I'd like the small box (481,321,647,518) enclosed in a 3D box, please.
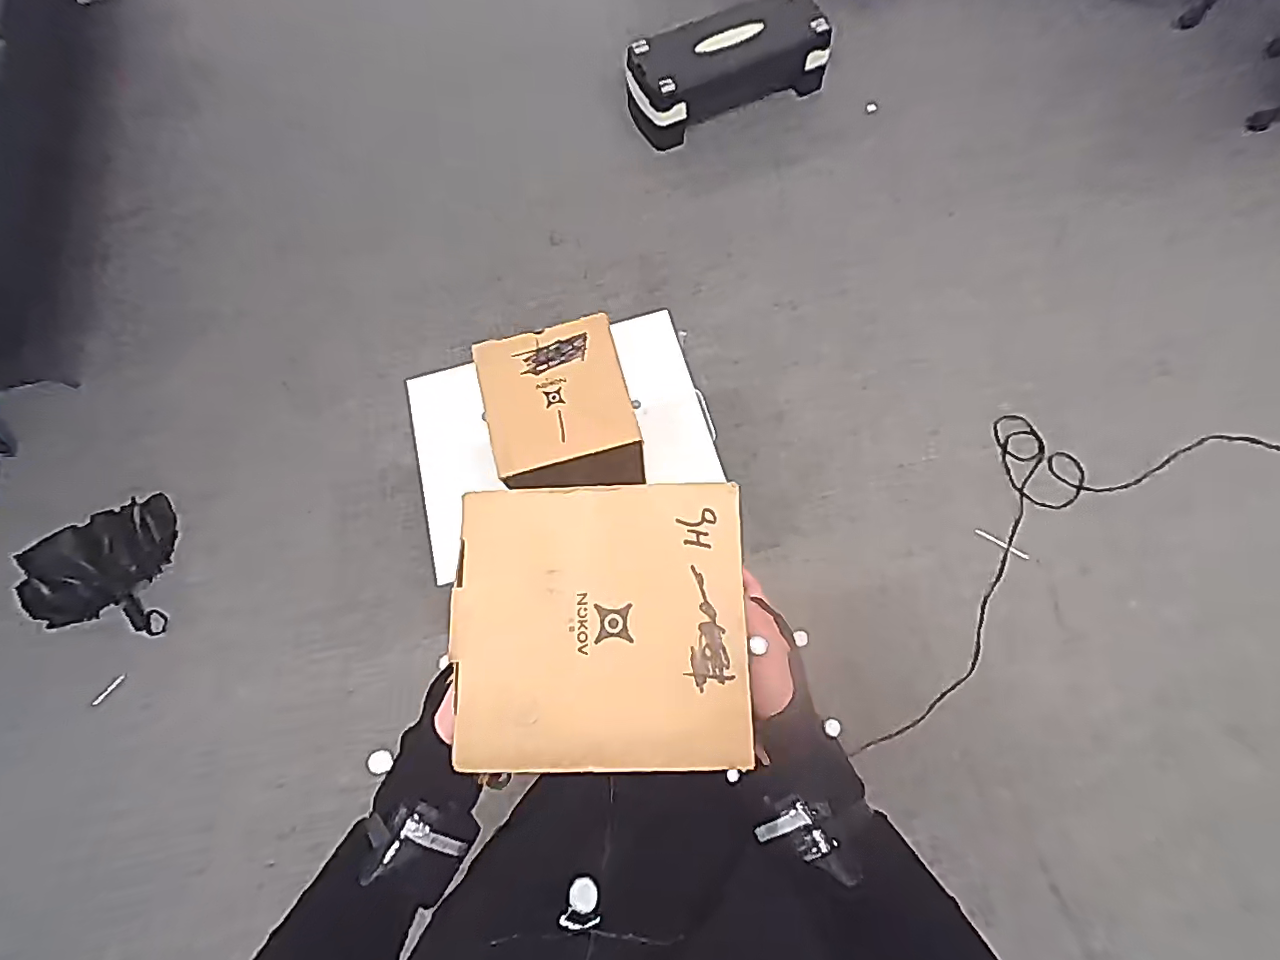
[{"bbox_3d":[-0.090,-0.069,0.699,0.168,0.176,0.179,-15,71,-2],"label":"small box"}]

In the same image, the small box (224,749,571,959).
[{"bbox_3d":[-0.184,0.344,0.444,0.176,0.179,0.168,-23,84,25],"label":"small box"}]
